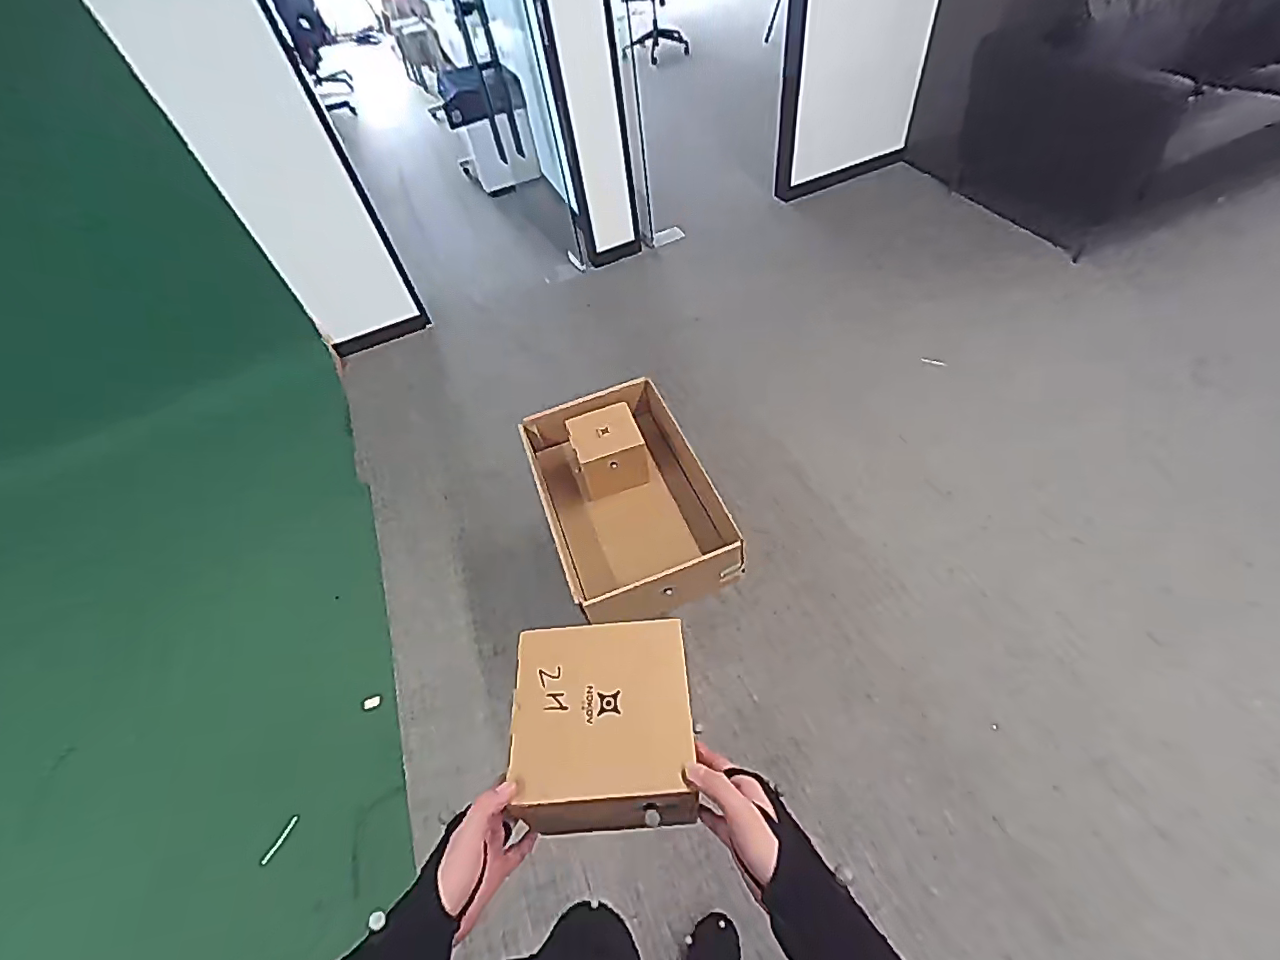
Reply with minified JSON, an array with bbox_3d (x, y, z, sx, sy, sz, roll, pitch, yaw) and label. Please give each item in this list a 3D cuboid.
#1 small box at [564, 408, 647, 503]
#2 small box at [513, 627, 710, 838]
[{"bbox_3d":[-0.090,-0.061,1.464,0.179,0.176,0.168,-17,52,-8],"label":"small box"},{"bbox_3d":[-0.025,0.275,0.584,0.179,0.176,0.168,-4,48,1],"label":"small box"}]
